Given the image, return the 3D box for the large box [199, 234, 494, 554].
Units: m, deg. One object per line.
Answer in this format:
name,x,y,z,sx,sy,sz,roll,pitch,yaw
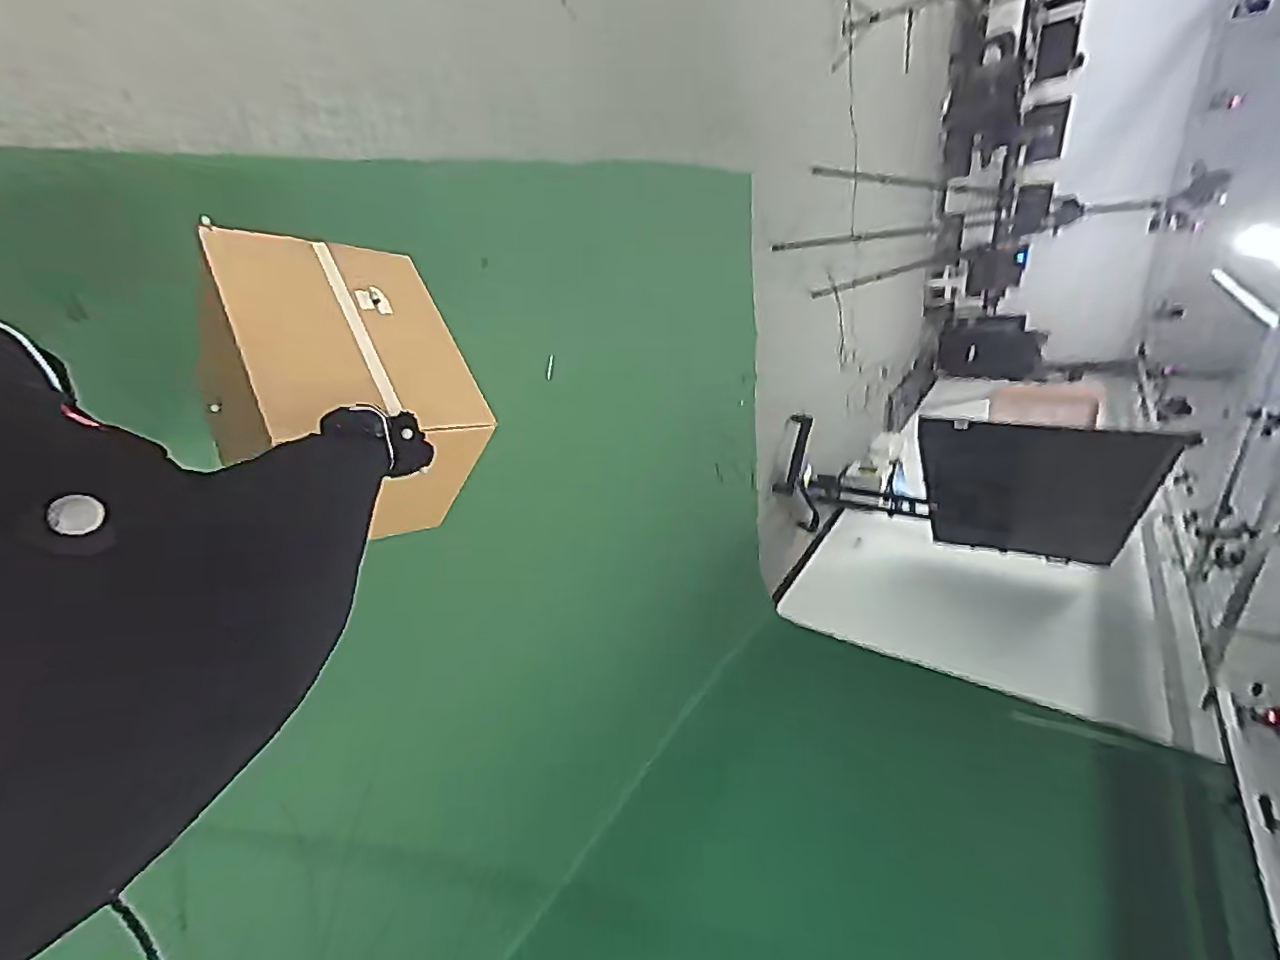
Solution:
large box,-0.517,-0.146,0.935,0.320,0.408,0.320,-13,153,-45
